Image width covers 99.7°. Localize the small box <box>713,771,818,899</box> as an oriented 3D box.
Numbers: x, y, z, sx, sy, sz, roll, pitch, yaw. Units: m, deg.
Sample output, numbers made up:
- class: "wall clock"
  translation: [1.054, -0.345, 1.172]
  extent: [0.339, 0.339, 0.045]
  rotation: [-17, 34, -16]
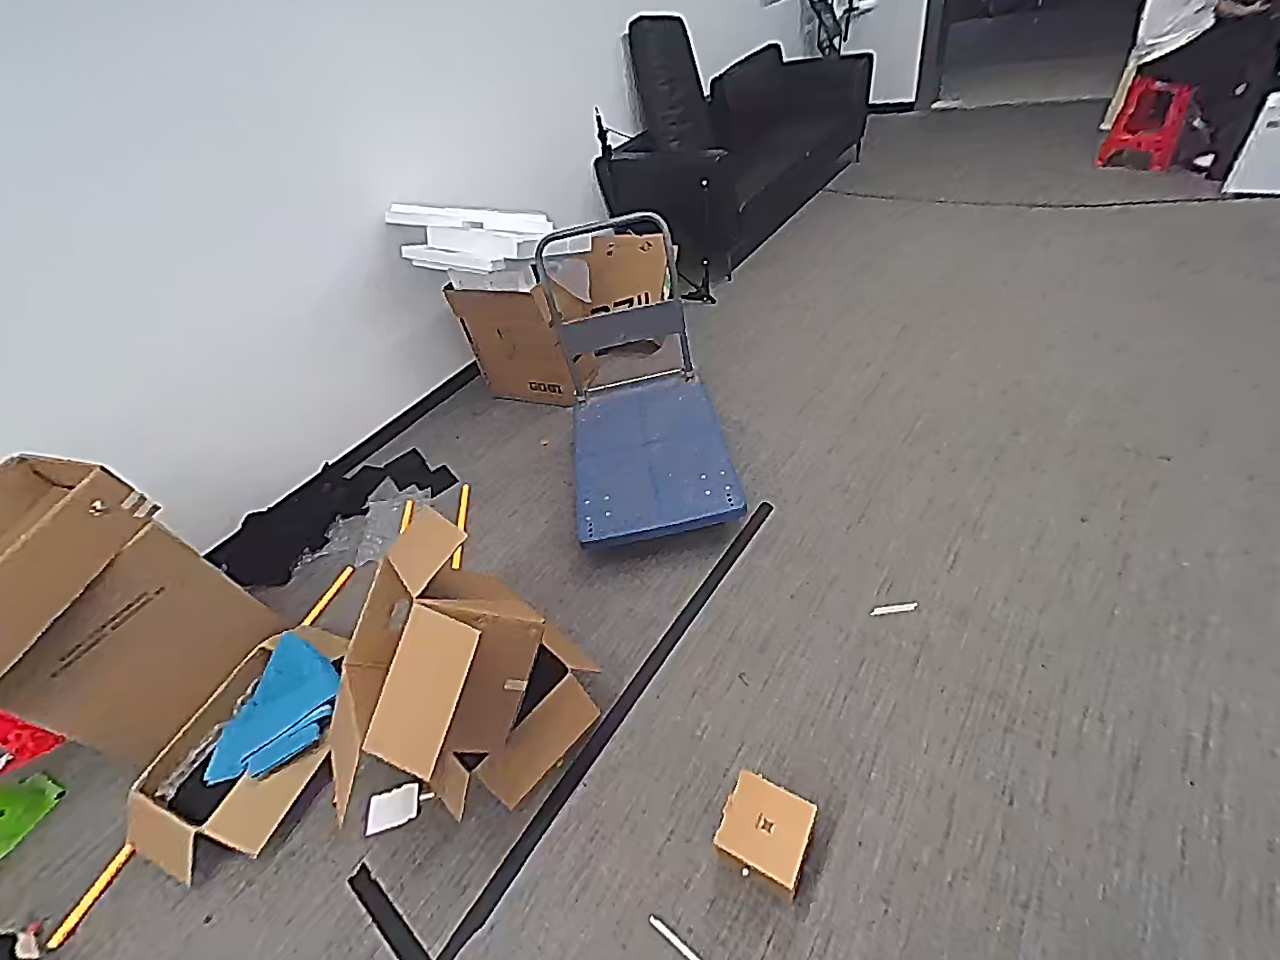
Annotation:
- class: "small box"
  translation: [0.282, 0.790, 1.198]
  extent: [0.179, 0.176, 0.168]
  rotation: [15, 51, 29]
